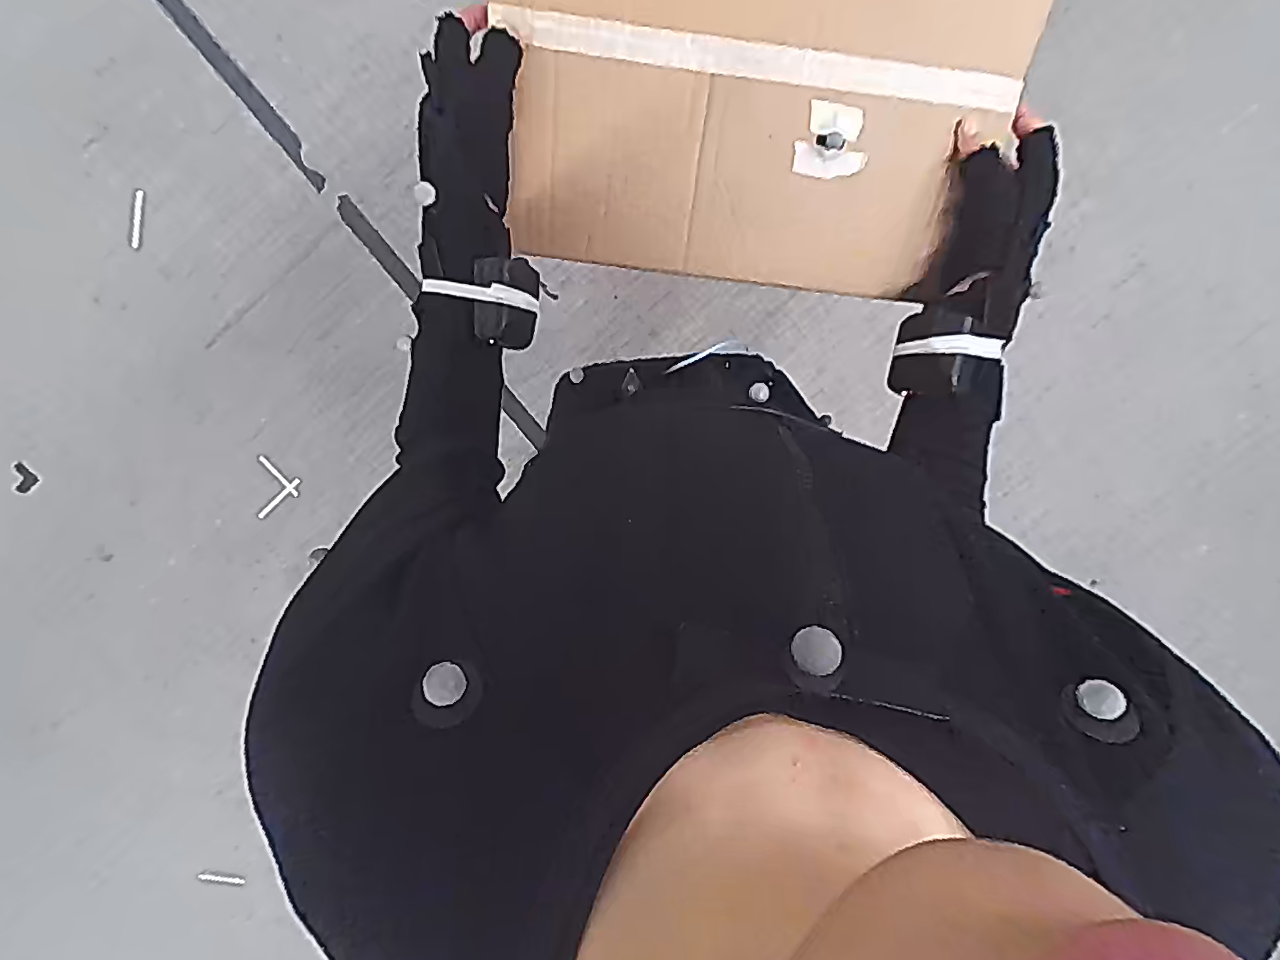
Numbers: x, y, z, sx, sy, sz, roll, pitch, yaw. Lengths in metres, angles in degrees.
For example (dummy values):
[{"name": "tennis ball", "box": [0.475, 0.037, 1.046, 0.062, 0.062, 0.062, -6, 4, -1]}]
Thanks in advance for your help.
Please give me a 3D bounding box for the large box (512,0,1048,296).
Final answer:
[{"name": "large box", "box": [0.097, -0.395, 0.553, 0.408, 0.320, 0.320, 6, 120, -4]}]
